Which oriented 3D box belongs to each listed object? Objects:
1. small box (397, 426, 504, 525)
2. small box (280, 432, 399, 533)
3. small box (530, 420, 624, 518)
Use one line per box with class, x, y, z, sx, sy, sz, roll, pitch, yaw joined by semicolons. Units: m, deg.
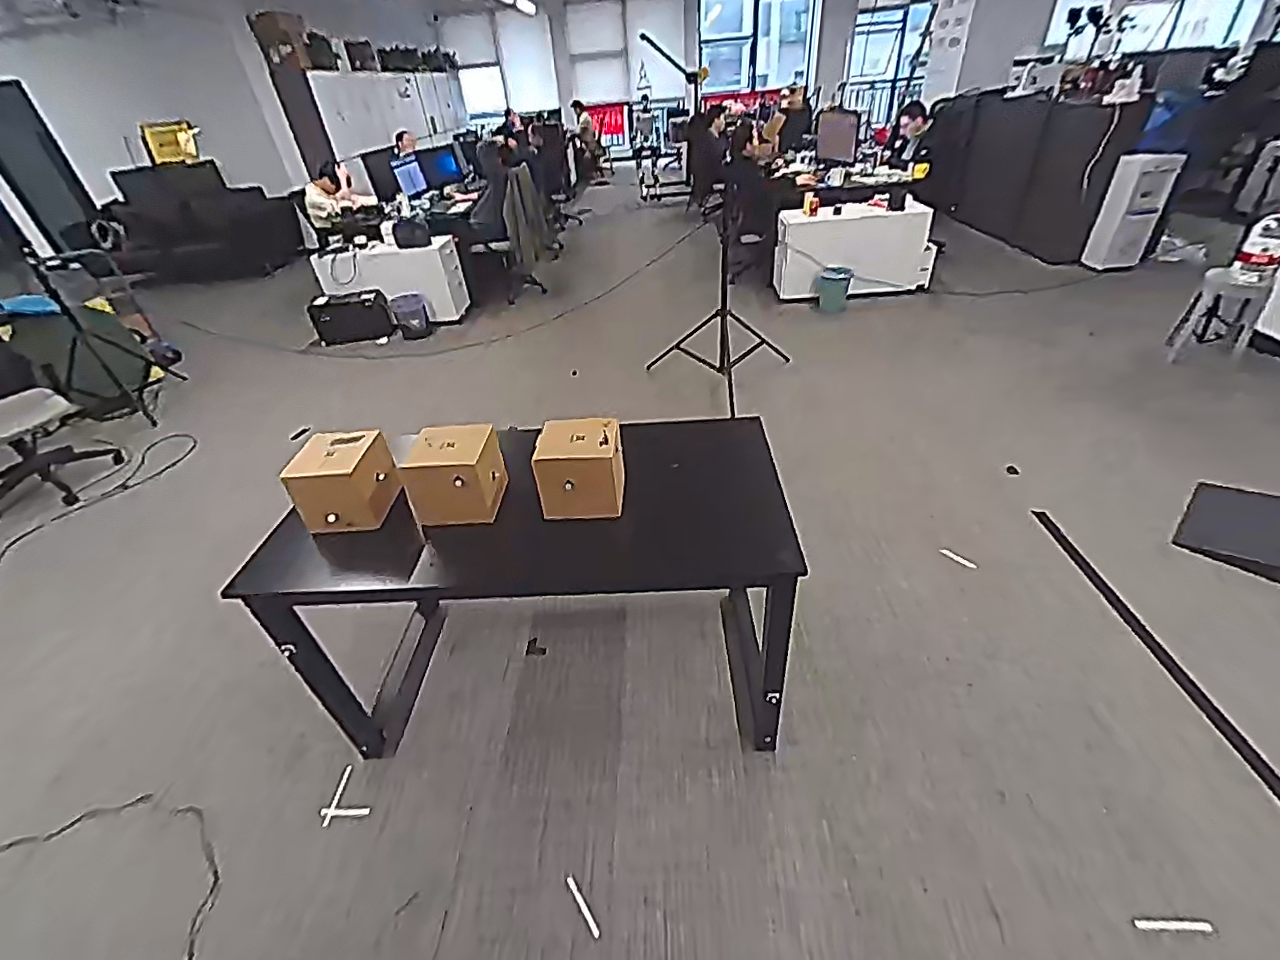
small box;-0.430;-0.009;1.268;0.179;0.176;0.168;-3;36;3
small box;-0.696;0.005;1.282;0.168;0.176;0.179;-4;38;2
small box;-0.138;-0.023;1.252;0.179;0.176;0.168;-3;37;5
